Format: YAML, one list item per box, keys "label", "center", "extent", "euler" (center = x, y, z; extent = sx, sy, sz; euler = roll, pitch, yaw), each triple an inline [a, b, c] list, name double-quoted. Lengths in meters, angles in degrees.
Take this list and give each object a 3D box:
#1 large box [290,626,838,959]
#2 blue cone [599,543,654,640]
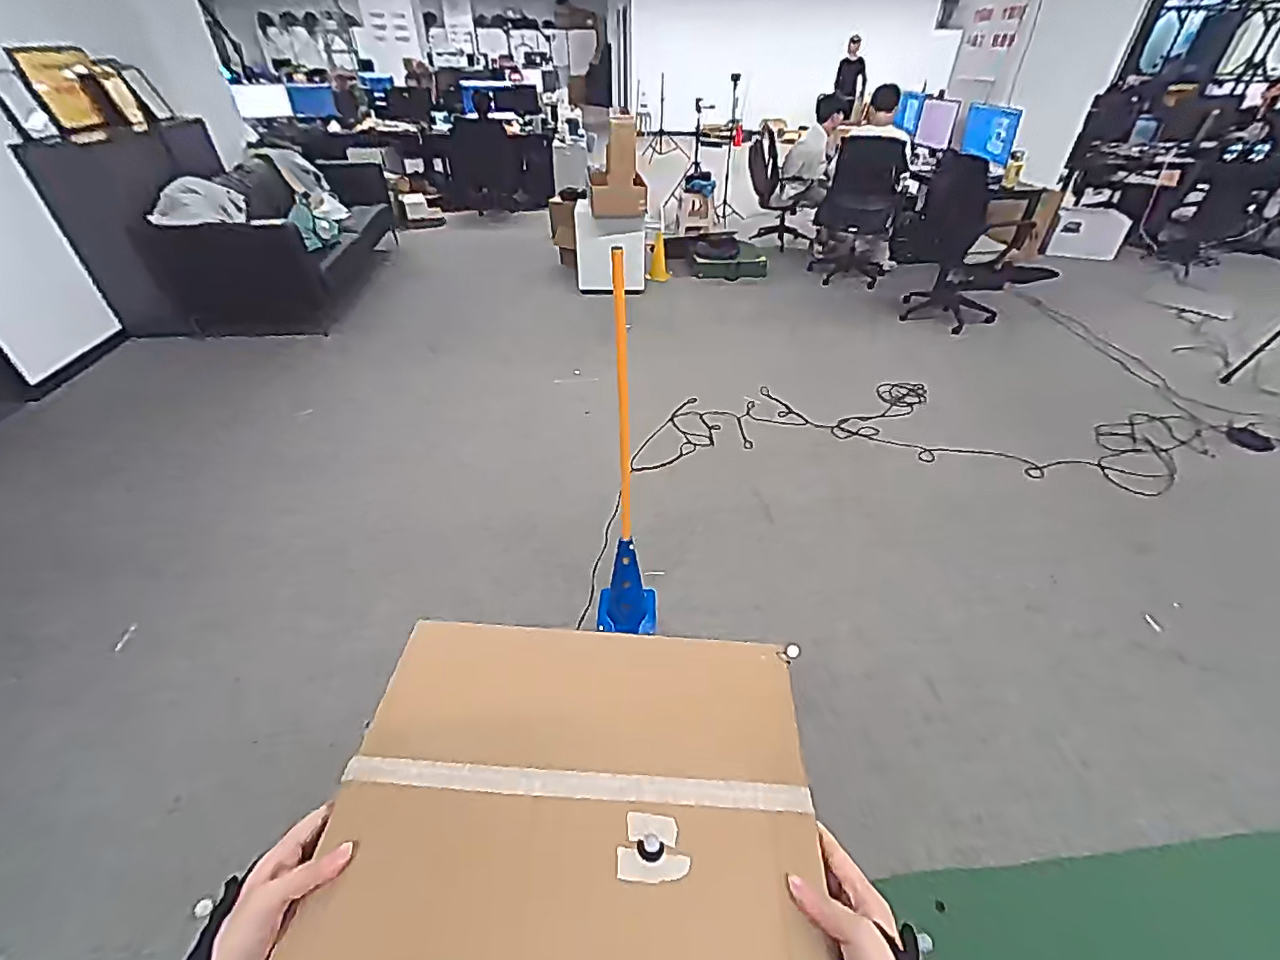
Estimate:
- label: "large box"
  center: [-0.055, 0.386, 0.578]
  extent: [0.408, 0.320, 0.320]
  euler: [4, 41, 1]
- label: "blue cone"
  center: [-0.045, 0.342, 1.770]
  extent: [0.193, 0.380, 0.192]
  euler: [2, 39, 2]
